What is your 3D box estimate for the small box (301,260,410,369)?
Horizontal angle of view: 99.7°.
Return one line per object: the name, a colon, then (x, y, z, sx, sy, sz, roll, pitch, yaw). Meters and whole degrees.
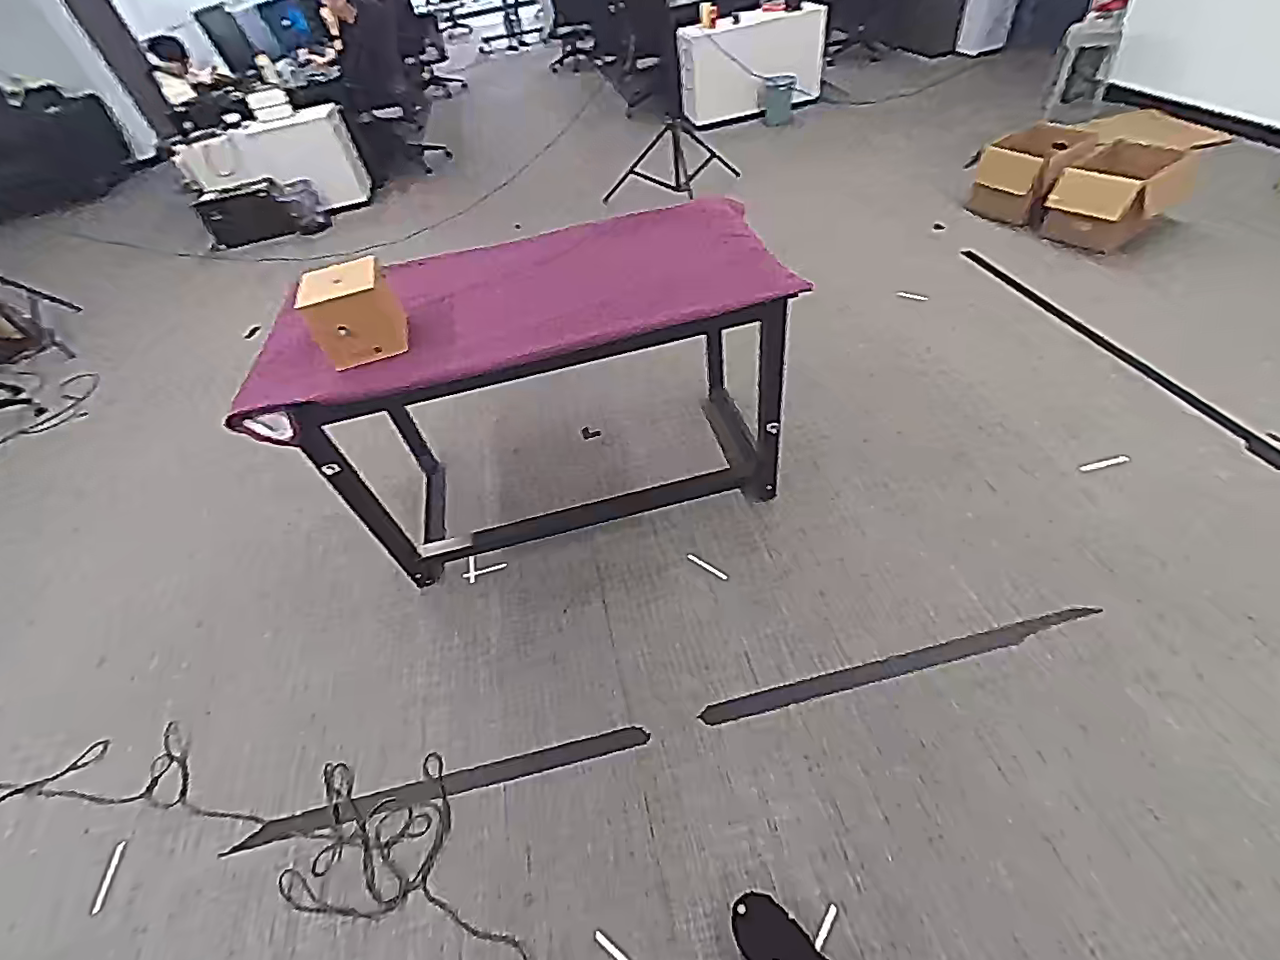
small box: (-0.650, -0.377, 1.256, 0.168, 0.176, 0.179, -19, 47, -7)
